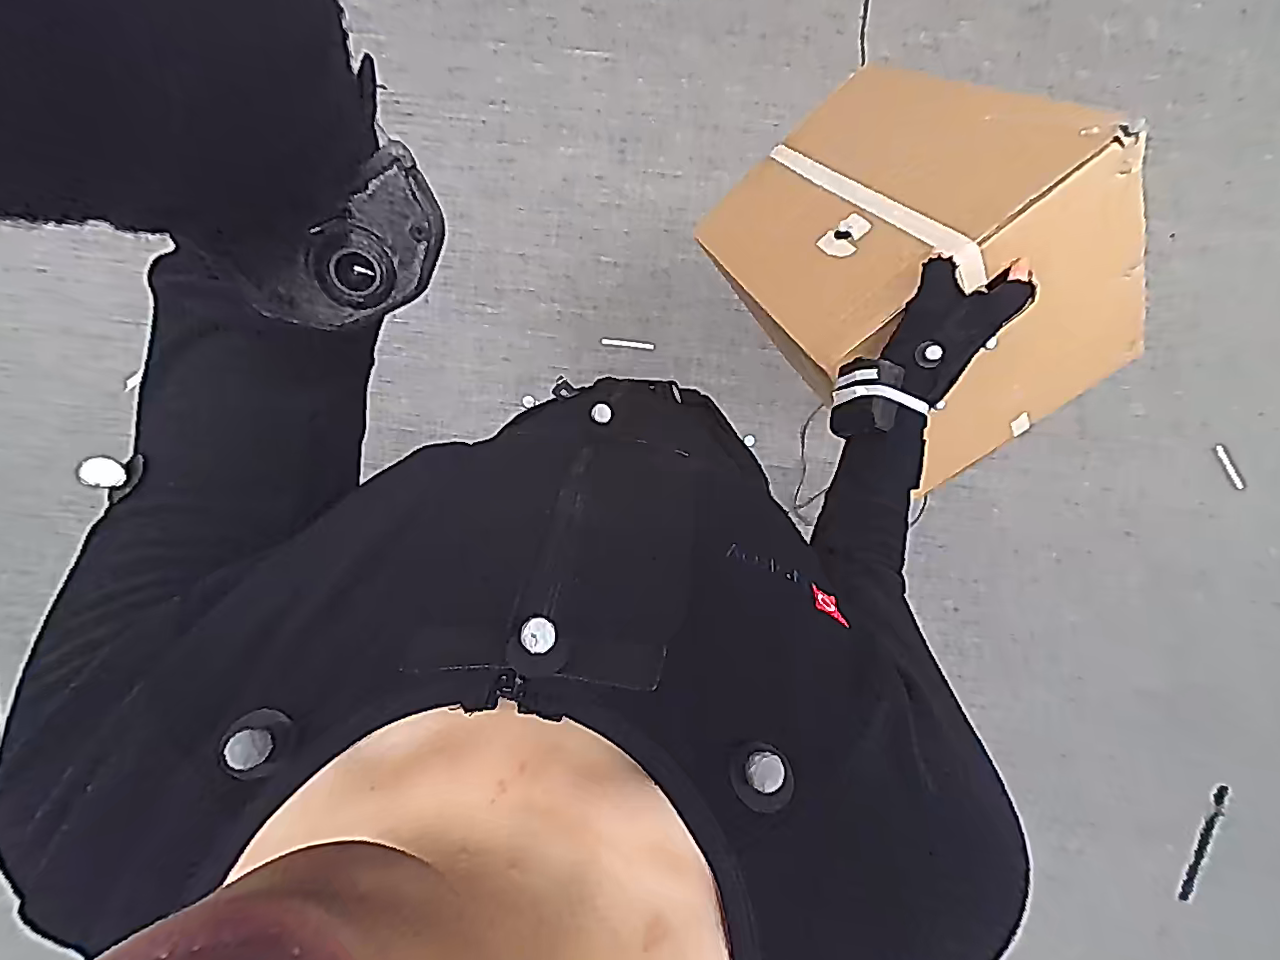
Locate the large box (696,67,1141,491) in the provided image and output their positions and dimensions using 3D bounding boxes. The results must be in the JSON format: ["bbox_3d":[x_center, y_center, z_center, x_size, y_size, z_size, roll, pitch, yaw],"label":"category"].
[{"bbox_3d":[0.338,-0.266,0.730,0.320,0.408,0.320,-38,135,17],"label":"large box"}]
